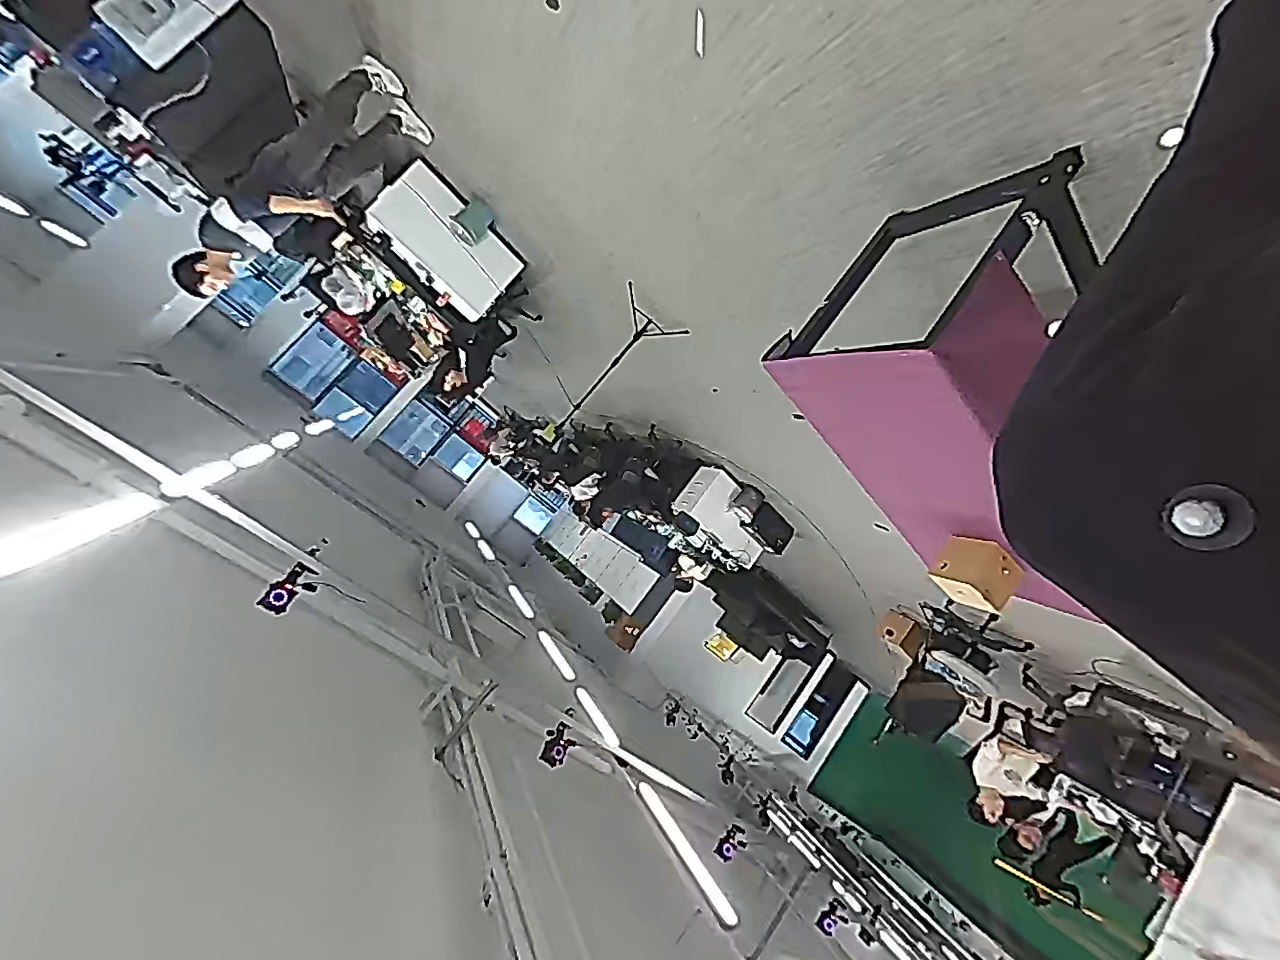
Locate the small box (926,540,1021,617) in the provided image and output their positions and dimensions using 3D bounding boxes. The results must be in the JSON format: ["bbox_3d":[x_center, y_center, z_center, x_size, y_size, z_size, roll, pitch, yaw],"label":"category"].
[{"bbox_3d":[1.104,0.318,1.792,0.168,0.176,0.179,41,170,-15],"label":"small box"}]
